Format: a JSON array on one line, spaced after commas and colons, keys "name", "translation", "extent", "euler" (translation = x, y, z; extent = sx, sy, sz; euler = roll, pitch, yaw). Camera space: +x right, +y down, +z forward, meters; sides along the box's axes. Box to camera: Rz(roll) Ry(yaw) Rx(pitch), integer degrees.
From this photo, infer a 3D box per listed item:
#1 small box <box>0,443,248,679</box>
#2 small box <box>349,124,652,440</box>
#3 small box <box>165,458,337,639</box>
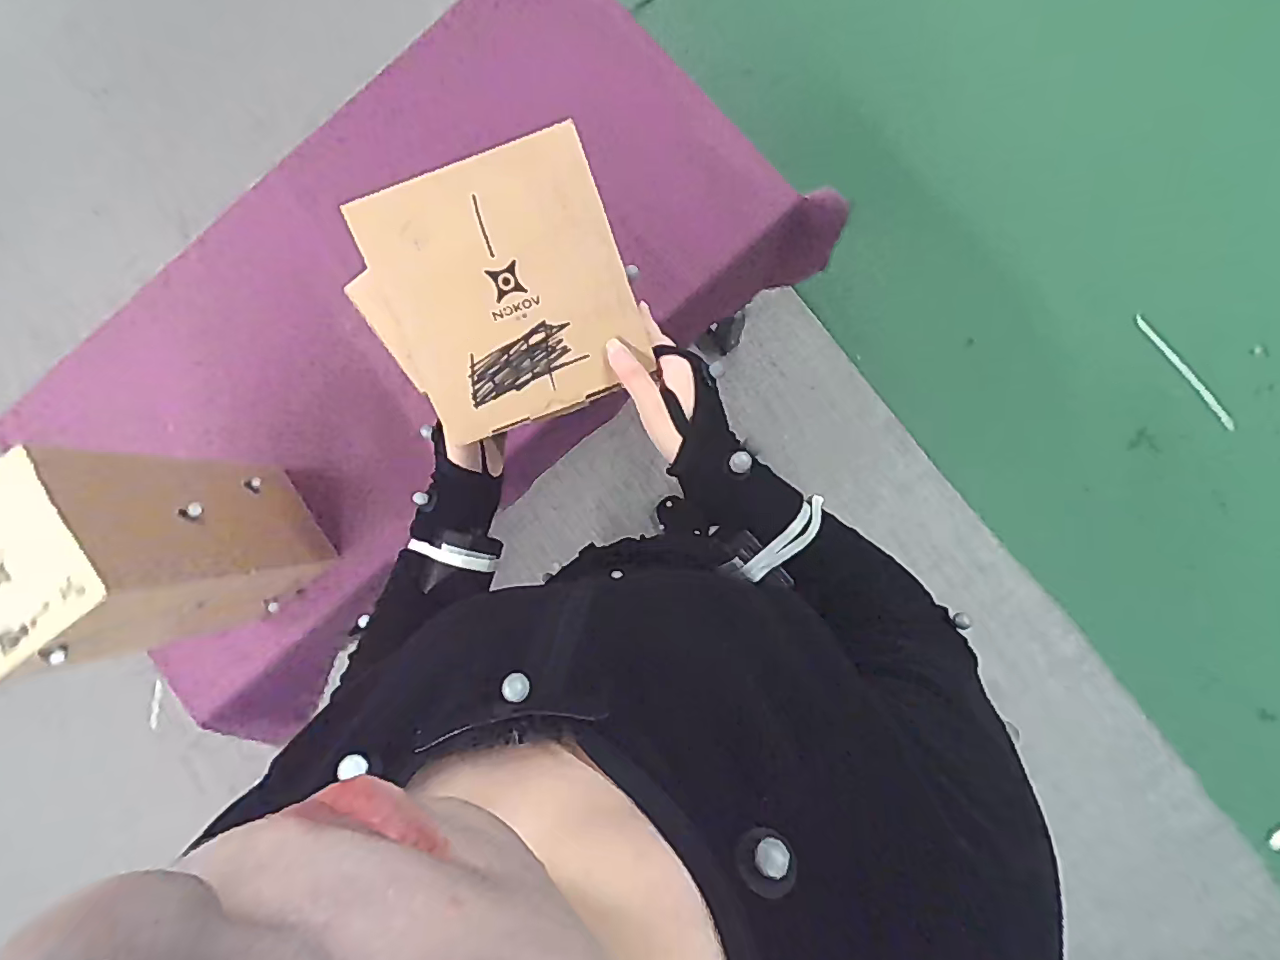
[{"name": "small box", "translation": [-0.591, 0.084, 0.590], "extent": [0.168, 0.176, 0.179], "euler": [-36, 84, 4]}, {"name": "small box", "translation": [-0.098, -0.153, 0.458], "extent": [0.168, 0.176, 0.179], "euler": [-20, 105, 0]}, {"name": "small box", "translation": [-0.577, 0.092, 0.754], "extent": [0.168, 0.176, 0.179], "euler": [-36, 86, 3]}]
